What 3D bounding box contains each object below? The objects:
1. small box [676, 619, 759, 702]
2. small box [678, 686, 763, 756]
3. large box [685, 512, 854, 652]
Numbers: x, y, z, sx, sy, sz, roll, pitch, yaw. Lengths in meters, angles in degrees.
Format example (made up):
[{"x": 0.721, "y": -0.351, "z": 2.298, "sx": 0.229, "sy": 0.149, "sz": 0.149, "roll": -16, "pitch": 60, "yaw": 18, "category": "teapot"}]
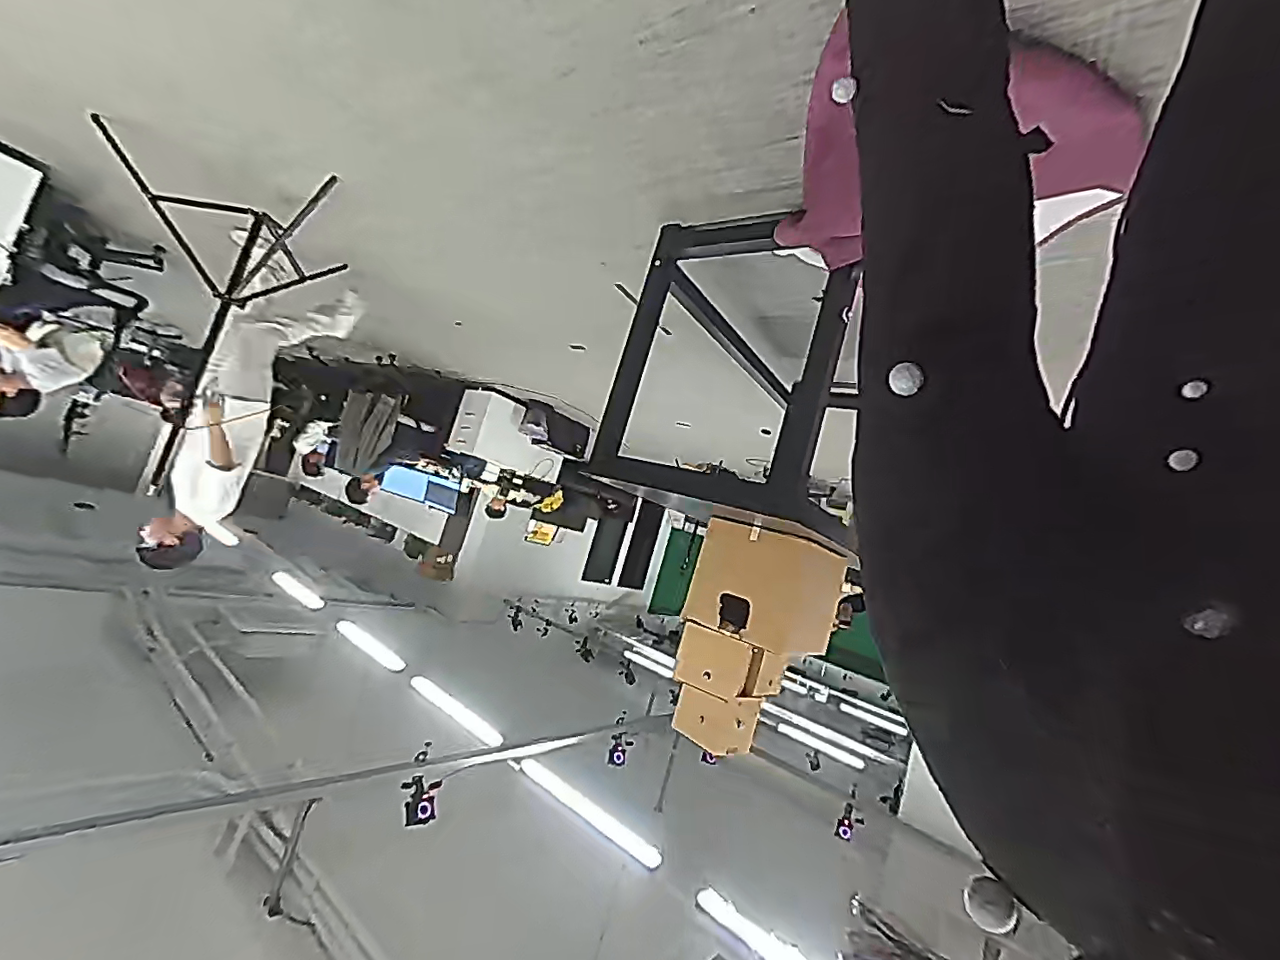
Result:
[{"x": 0.229, "y": 0.506, "z": 1.544, "sx": 0.179, "sy": 0.176, "sz": 0.168, "roll": 15, "pitch": 175, "yaw": 27, "category": "small box"}, {"x": 0.243, "y": 0.685, "z": 1.594, "sx": 0.168, "sy": 0.176, "sz": 0.179, "roll": 21, "pitch": 172, "yaw": -39, "category": "small box"}, {"x": 0.403, "y": 0.309, "z": 1.624, "sx": 0.320, "sy": 0.320, "sz": 0.408, "roll": 11, "pitch": 172, "yaw": 39, "category": "large box"}]
